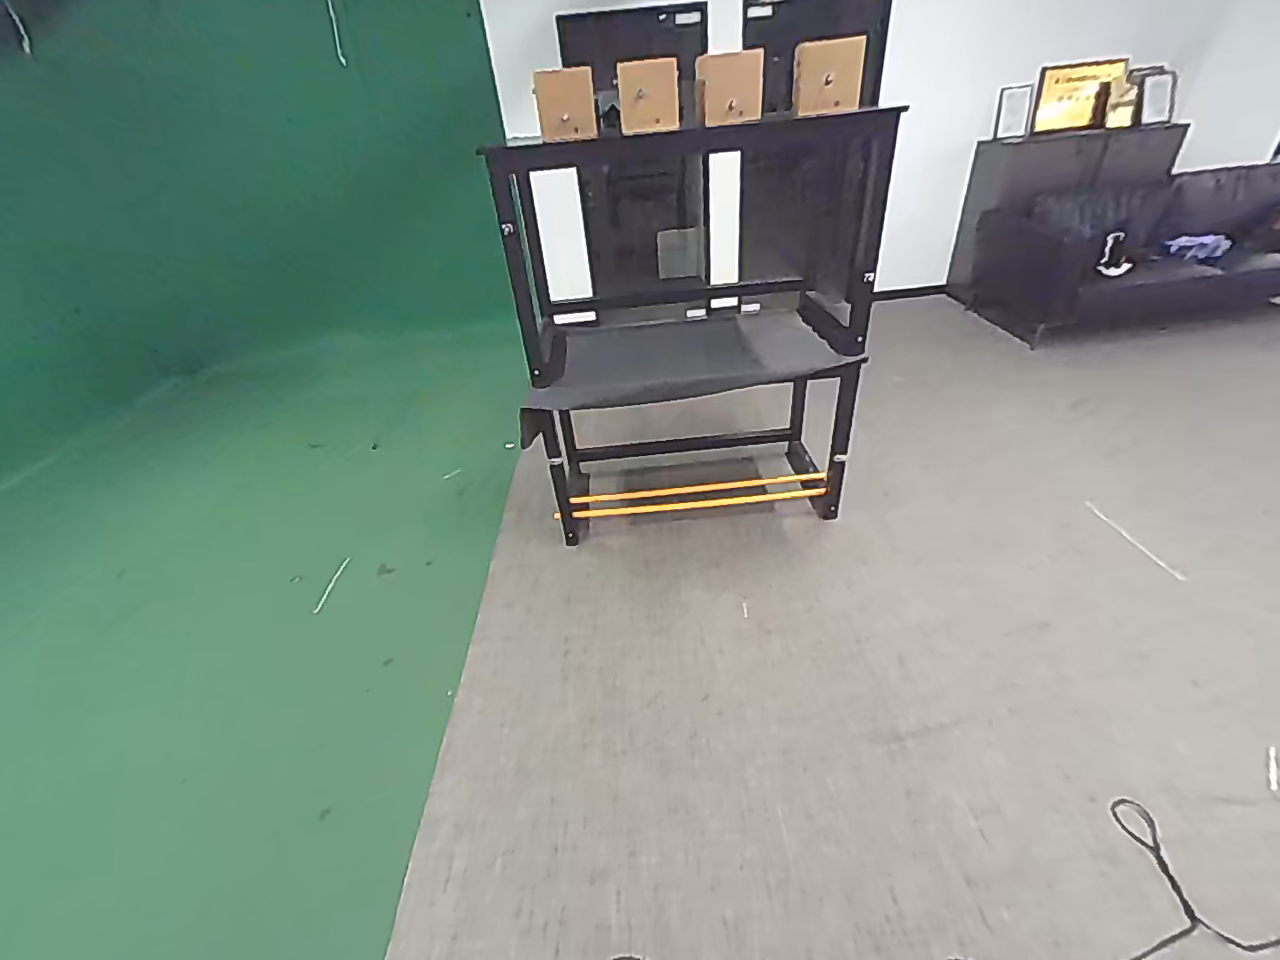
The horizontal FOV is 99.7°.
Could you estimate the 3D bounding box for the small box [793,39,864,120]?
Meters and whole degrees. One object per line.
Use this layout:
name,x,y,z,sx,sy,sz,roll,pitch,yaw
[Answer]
small box,0.540,-1.158,1.571,0.168,0.176,0.179,0,34,9

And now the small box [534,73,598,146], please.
small box,-0.219,-1.110,1.626,0.168,0.176,0.179,-8,35,-2

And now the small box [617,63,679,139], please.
small box,0.026,-1.121,1.607,0.168,0.176,0.179,-5,34,2
